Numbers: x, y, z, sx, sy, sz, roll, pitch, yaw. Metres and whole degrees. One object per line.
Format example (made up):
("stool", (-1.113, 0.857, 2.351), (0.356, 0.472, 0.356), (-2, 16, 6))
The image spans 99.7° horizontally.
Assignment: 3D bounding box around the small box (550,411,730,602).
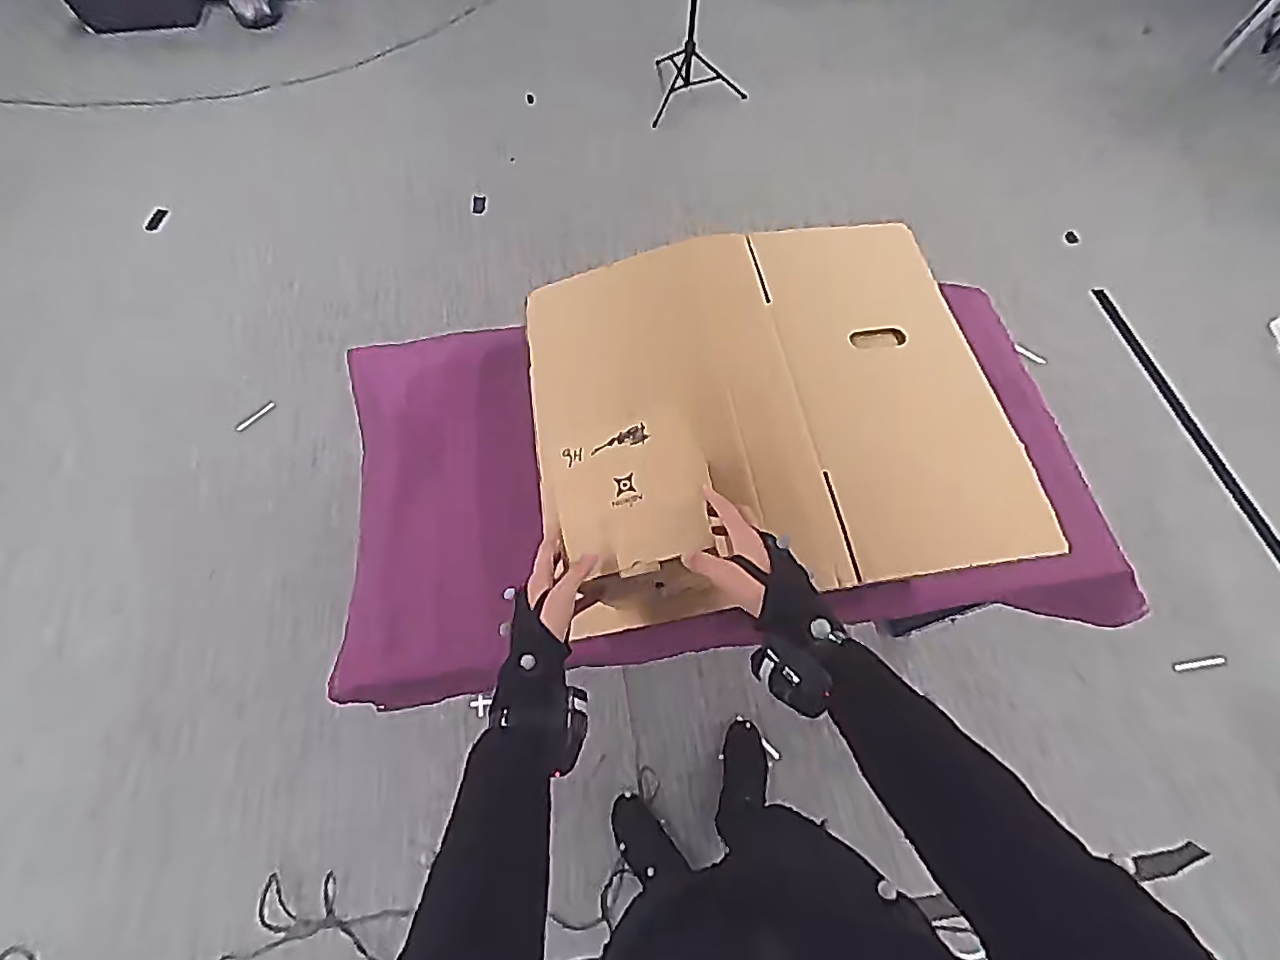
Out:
("small box", (0.006, 0.046, 0.666), (0.168, 0.176, 0.179), (-15, 66, 11))
